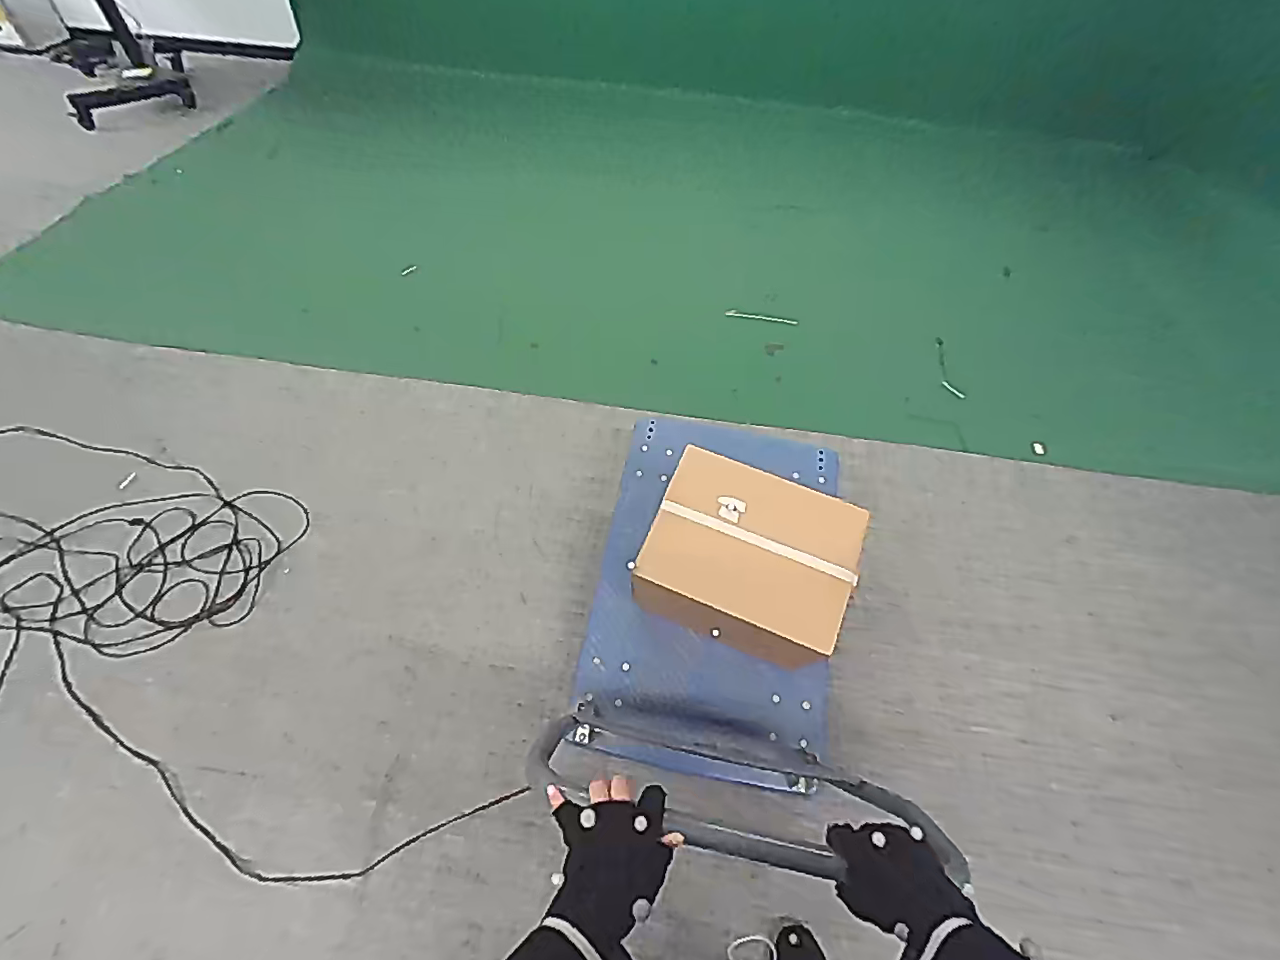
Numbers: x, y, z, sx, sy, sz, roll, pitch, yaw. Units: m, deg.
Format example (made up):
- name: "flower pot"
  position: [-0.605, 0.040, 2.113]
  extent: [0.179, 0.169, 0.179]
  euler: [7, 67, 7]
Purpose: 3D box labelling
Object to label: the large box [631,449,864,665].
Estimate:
- name: "large box"
  position: [0.226, 0.186, 1.220]
  extent: [0.408, 0.320, 0.320]
  euler: [21, 68, 10]
